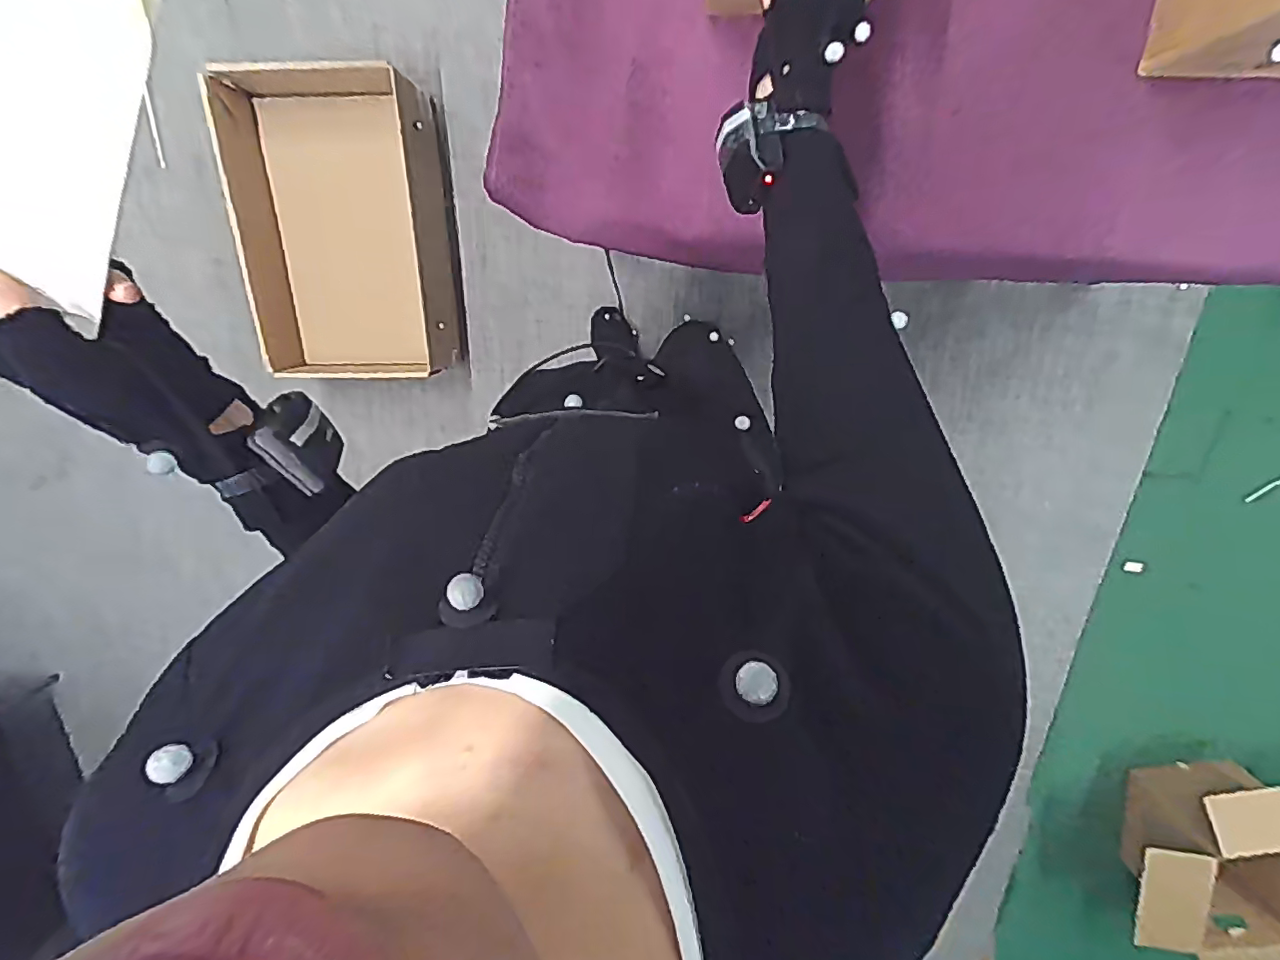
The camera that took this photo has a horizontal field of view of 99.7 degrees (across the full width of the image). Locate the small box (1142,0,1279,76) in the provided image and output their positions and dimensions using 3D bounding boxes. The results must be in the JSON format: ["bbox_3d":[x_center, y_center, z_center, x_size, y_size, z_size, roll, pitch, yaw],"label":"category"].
[{"bbox_3d":[0.602,-0.481,0.470,0.168,0.176,0.179,1,108,2],"label":"small box"}]
